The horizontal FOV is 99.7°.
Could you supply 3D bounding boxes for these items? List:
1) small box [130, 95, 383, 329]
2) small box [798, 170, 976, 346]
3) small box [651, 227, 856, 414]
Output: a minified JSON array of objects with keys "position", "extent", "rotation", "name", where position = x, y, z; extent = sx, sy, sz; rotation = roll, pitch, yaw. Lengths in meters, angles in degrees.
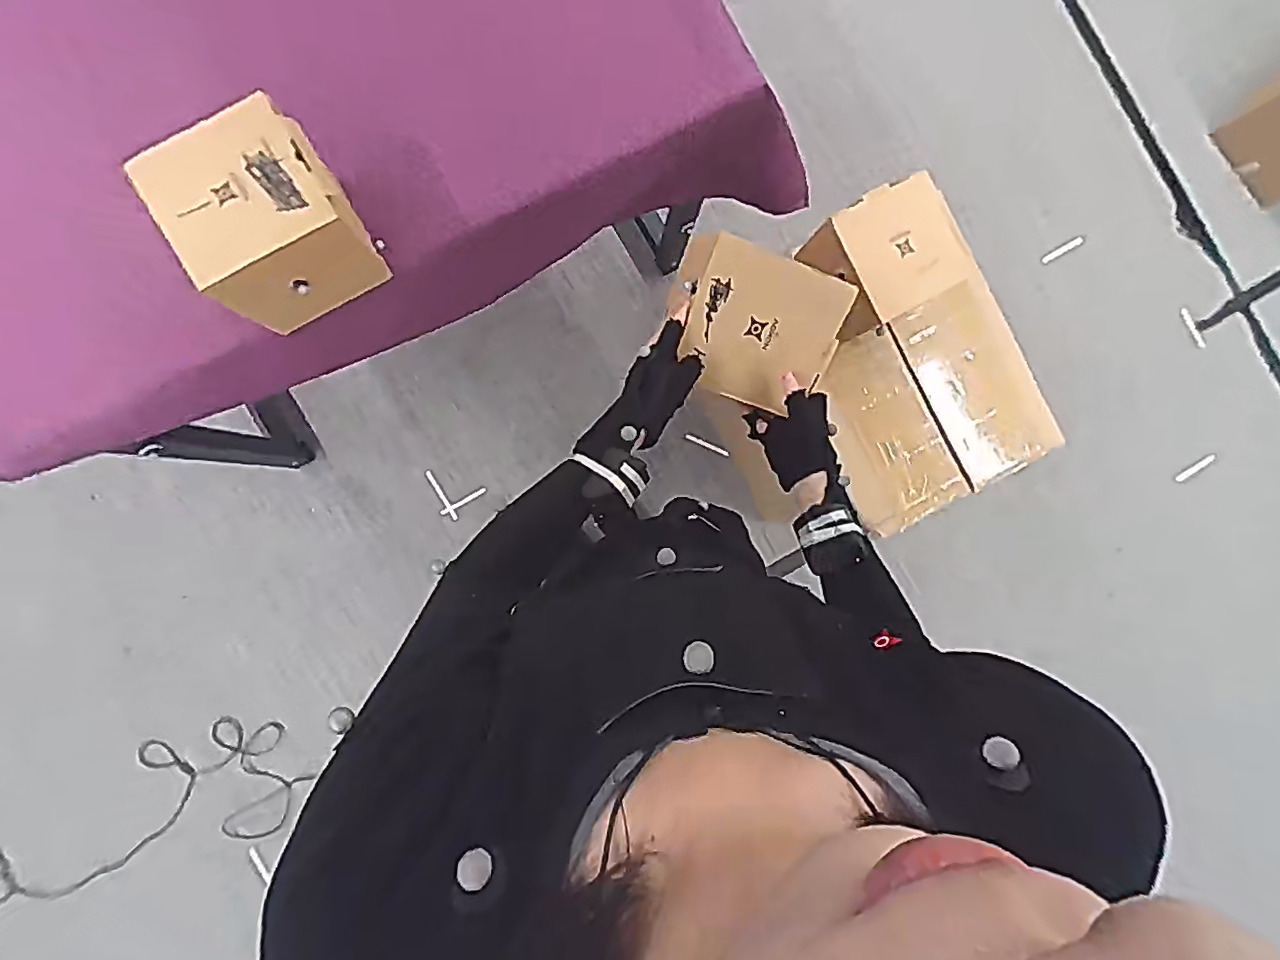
[{"position":[-0.455,-0.321,0.682],"extent":[0.179,0.176,0.168],"rotation":[-31,90,-5],"name":"small box"},{"position":[0.377,-0.340,0.864],"extent":[0.168,0.176,0.179],"rotation":[-28,93,-3],"name":"small box"},{"position":[0.127,-0.205,0.685],"extent":[0.179,0.176,0.168],"rotation":[16,110,-13],"name":"small box"}]
